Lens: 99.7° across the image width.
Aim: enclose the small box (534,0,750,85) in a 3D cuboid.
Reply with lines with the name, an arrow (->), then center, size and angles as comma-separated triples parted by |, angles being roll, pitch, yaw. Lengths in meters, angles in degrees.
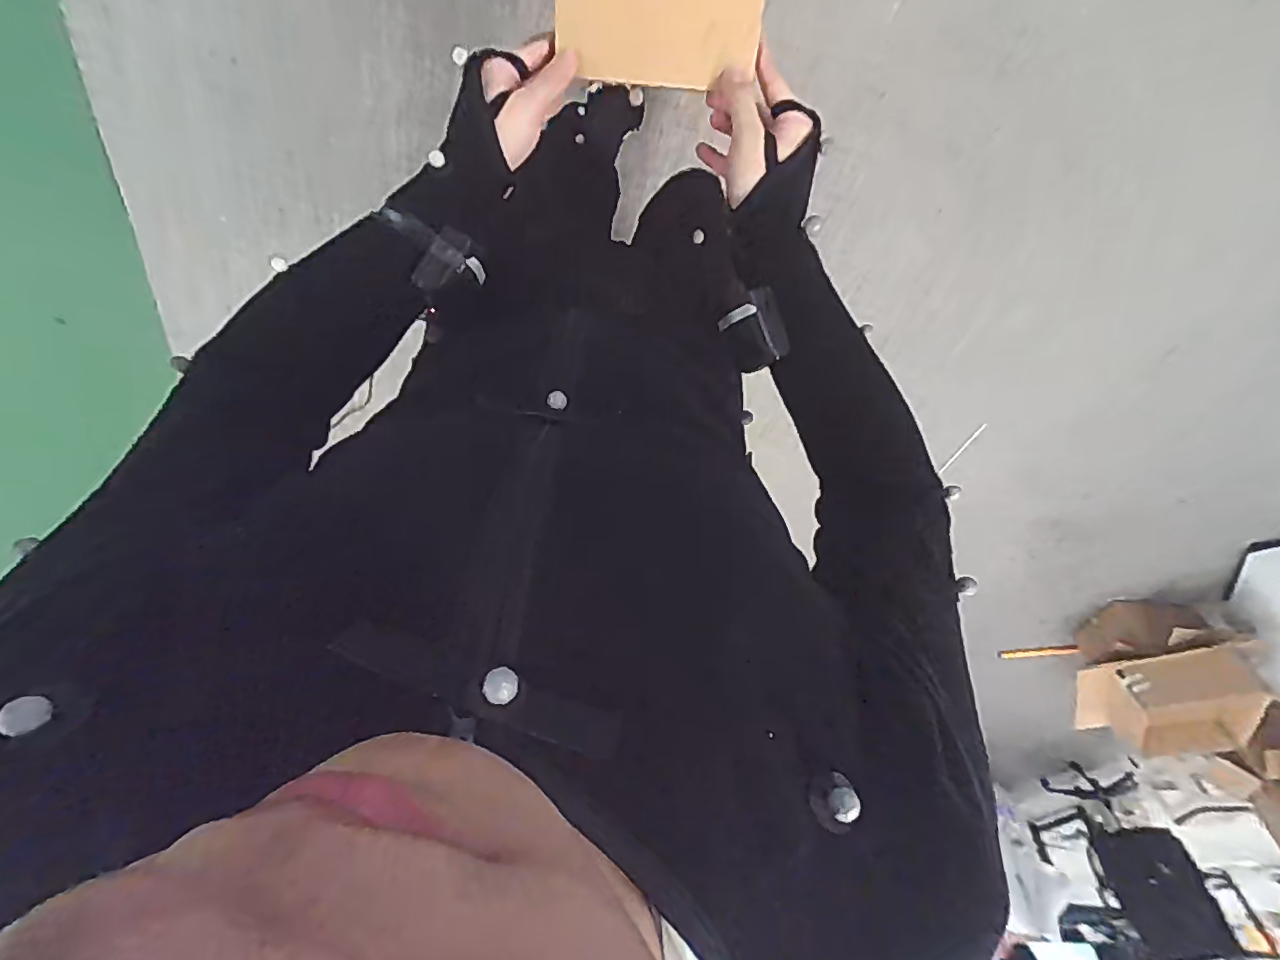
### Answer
small box -> 0.015, -0.441, 0.442 | 0.168, 0.176, 0.179 | 8, 126, 1
